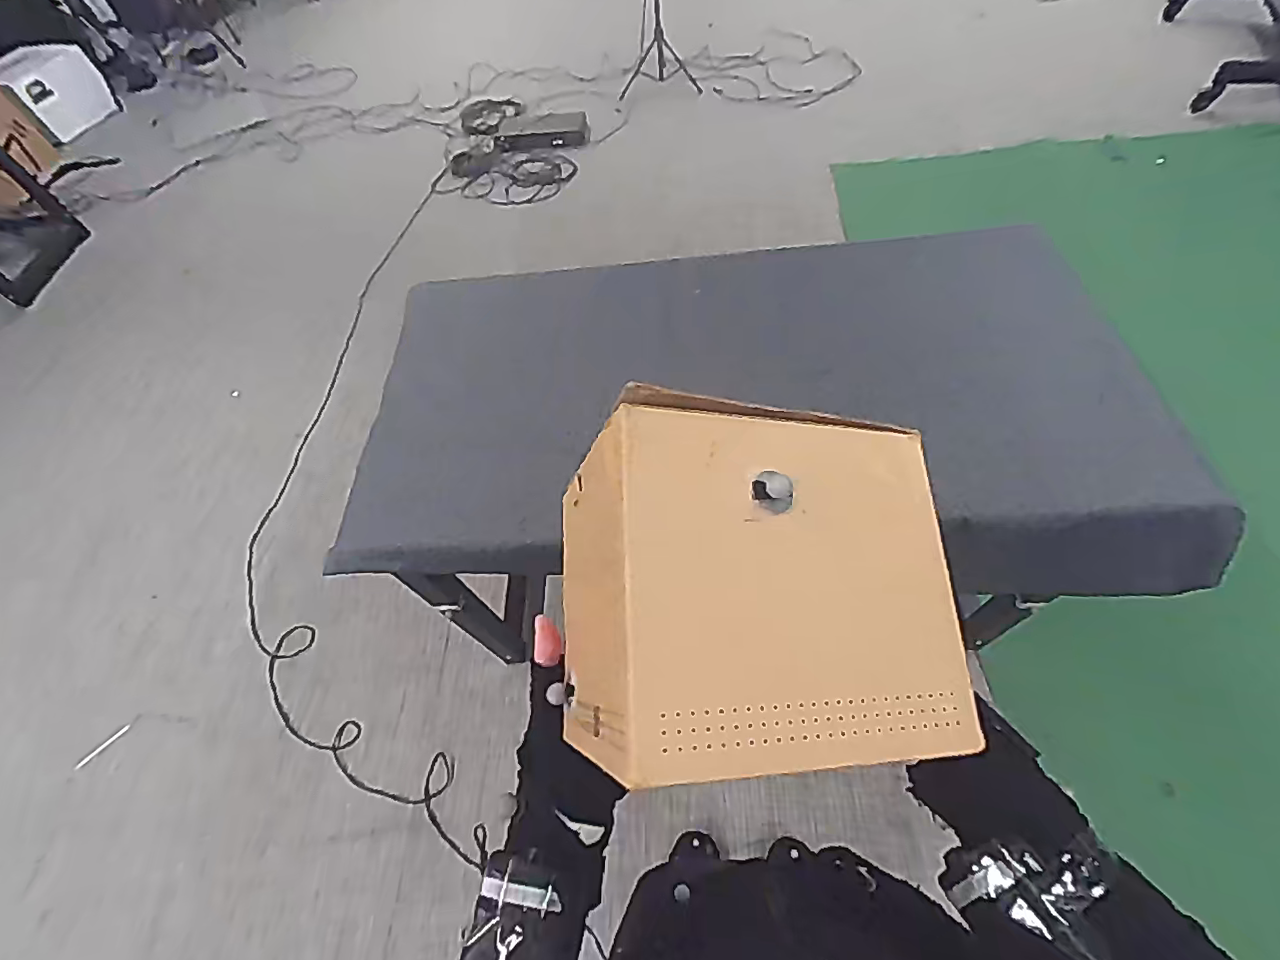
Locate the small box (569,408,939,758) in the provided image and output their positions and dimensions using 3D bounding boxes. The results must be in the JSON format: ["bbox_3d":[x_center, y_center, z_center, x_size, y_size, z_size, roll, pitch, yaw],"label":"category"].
[{"bbox_3d":[0.053,0.071,0.345,0.179,0.168,0.176,3,71,-16],"label":"small box"}]
